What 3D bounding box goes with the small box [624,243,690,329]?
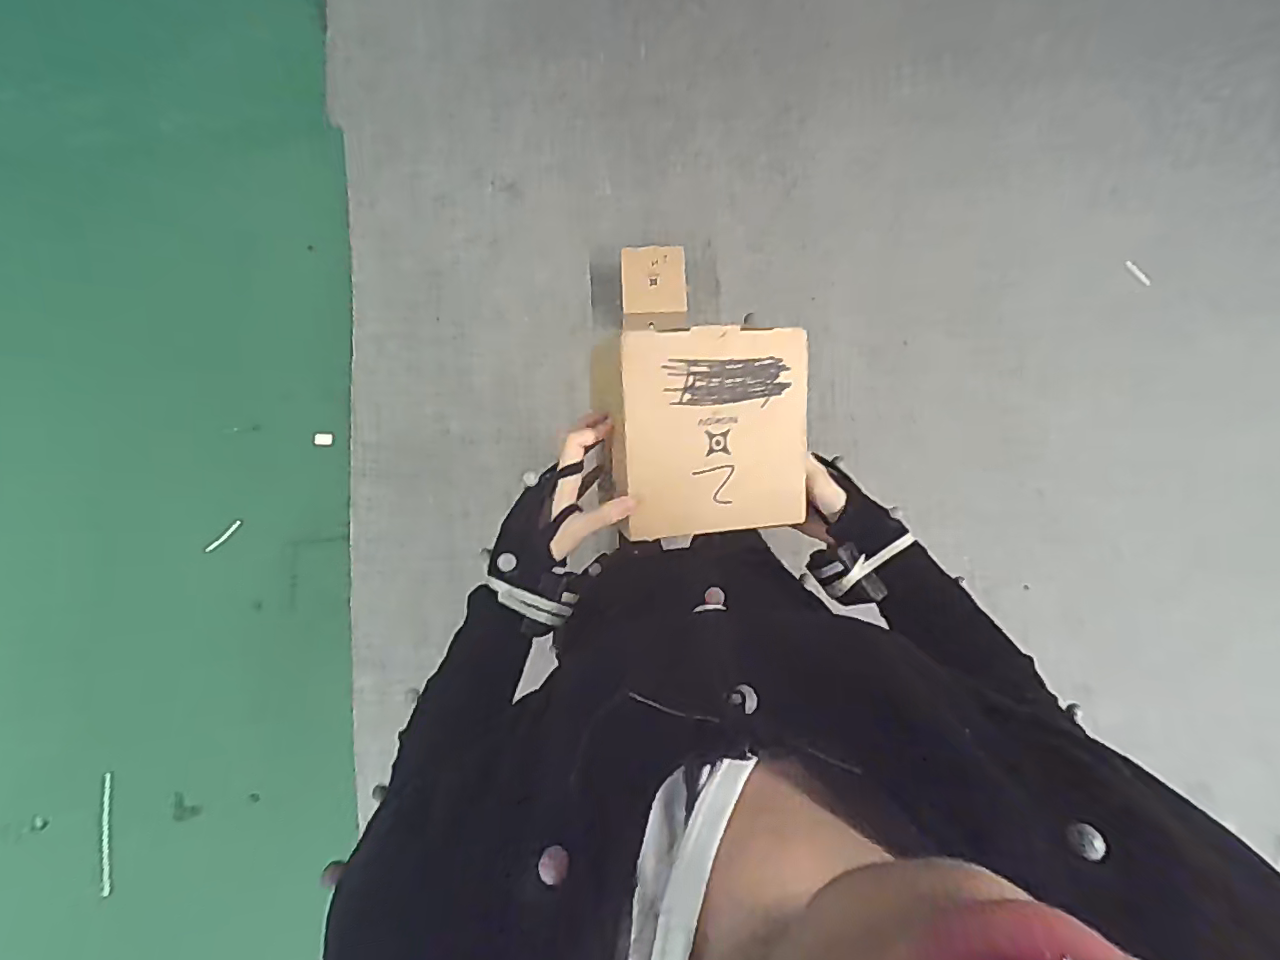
[{"bbox_3d":[0.044,-0.514,1.458,0.168,0.176,0.179,-2,87,-1],"label":"small box"}]
